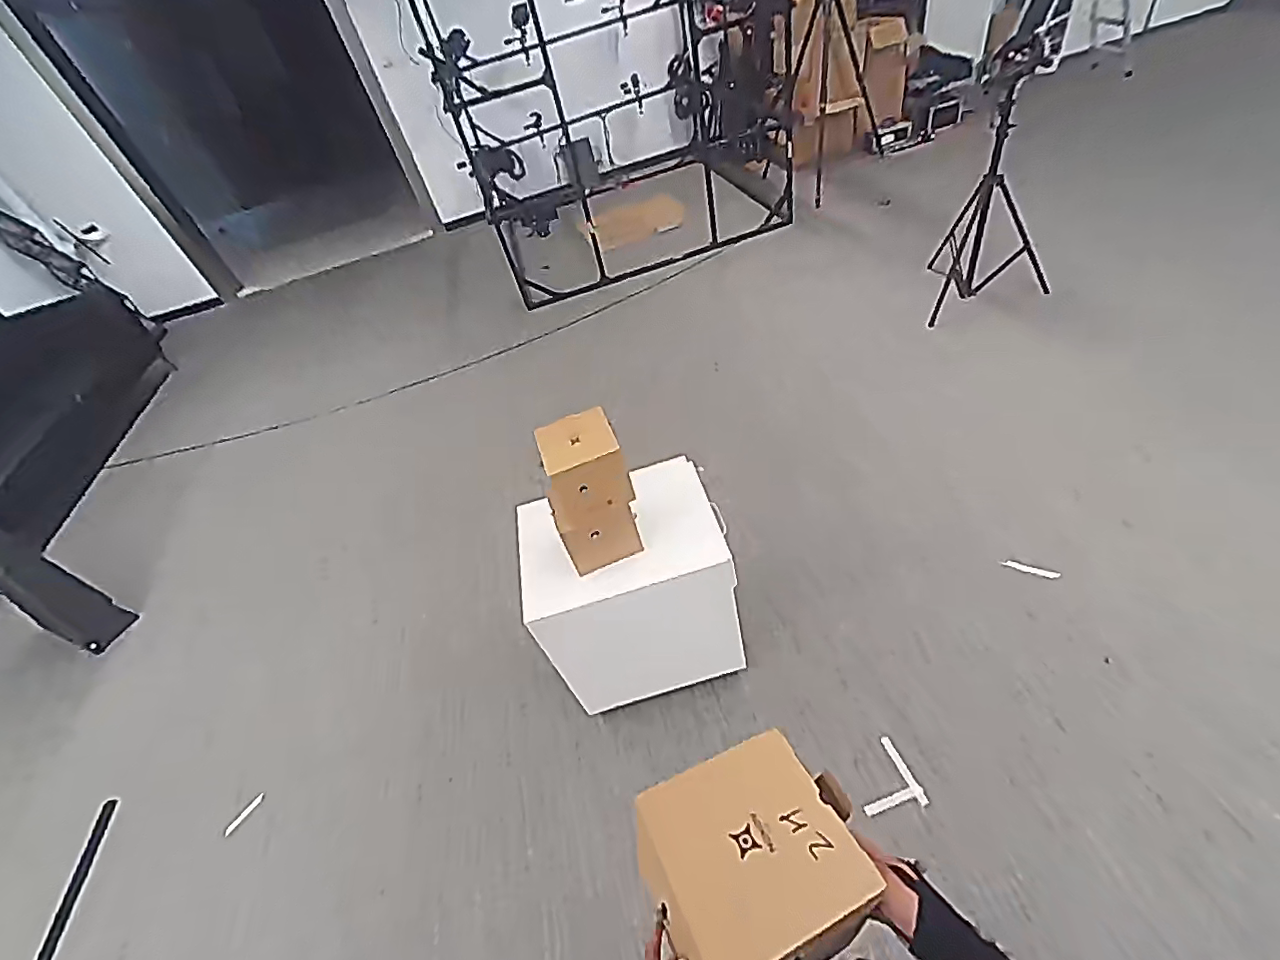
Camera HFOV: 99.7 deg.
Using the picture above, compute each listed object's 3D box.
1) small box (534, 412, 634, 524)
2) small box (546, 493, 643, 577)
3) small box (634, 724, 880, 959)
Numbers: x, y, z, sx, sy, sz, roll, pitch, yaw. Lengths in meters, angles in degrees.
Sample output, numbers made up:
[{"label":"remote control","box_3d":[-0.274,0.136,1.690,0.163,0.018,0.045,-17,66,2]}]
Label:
[{"label":"small box","box_3d":[-0.126,-0.020,1.244,0.168,0.176,0.179,-22,43,-5]},{"label":"small box","box_3d":[-0.111,0.112,1.341,0.179,0.176,0.168,-22,44,-6]},{"label":"small box","box_3d":[0.106,0.397,0.554,0.179,0.176,0.168,-15,38,-19]}]
